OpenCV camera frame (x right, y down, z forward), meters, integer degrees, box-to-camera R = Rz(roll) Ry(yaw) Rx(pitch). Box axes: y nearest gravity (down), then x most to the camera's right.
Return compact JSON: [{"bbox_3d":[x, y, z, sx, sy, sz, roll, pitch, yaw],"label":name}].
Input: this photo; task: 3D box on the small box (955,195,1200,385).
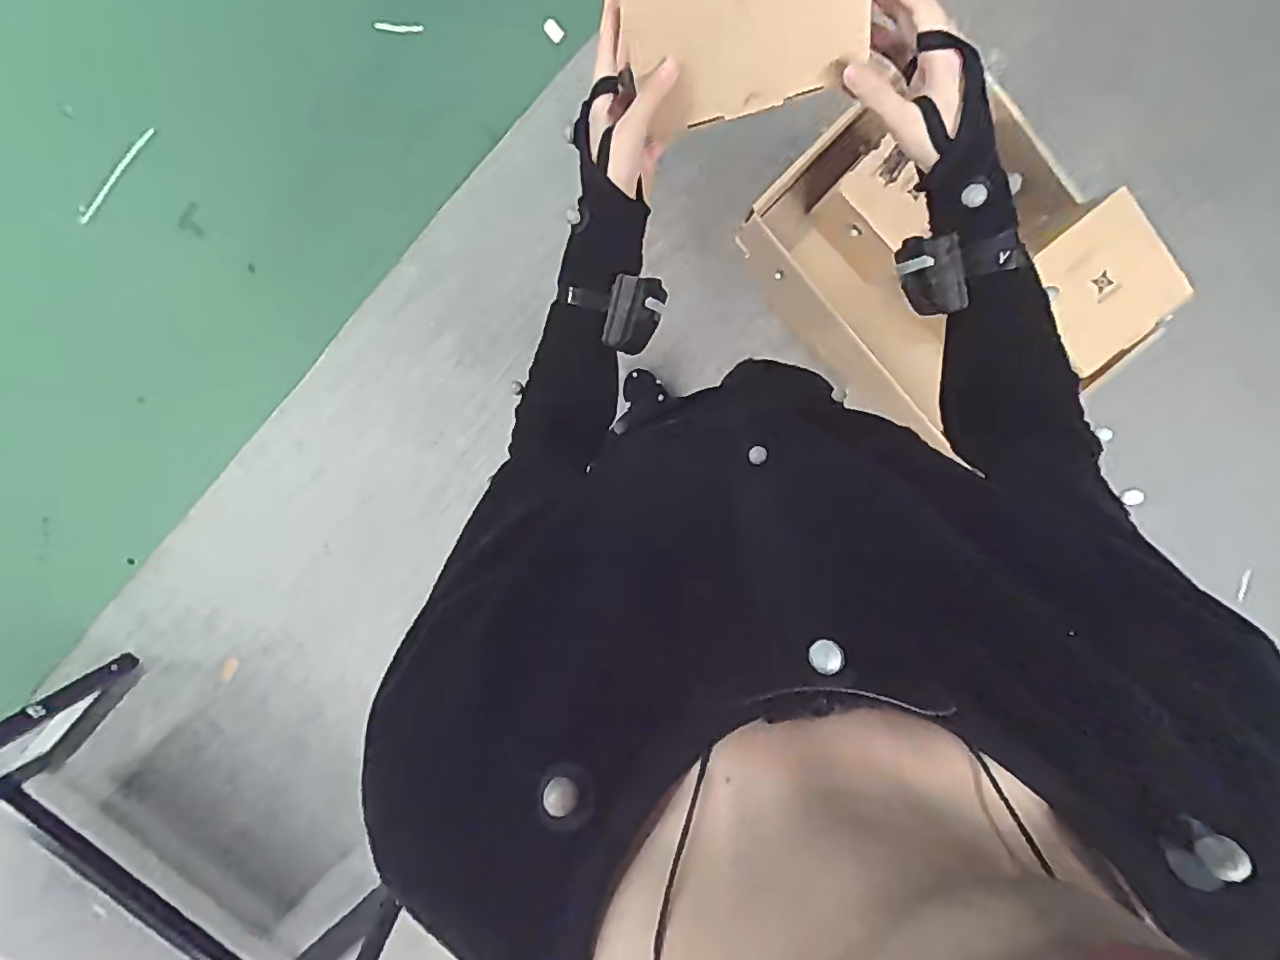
[{"bbox_3d":[0.599,-0.255,0.766,0.168,0.176,0.179,-39,96,8],"label":"small box"}]
